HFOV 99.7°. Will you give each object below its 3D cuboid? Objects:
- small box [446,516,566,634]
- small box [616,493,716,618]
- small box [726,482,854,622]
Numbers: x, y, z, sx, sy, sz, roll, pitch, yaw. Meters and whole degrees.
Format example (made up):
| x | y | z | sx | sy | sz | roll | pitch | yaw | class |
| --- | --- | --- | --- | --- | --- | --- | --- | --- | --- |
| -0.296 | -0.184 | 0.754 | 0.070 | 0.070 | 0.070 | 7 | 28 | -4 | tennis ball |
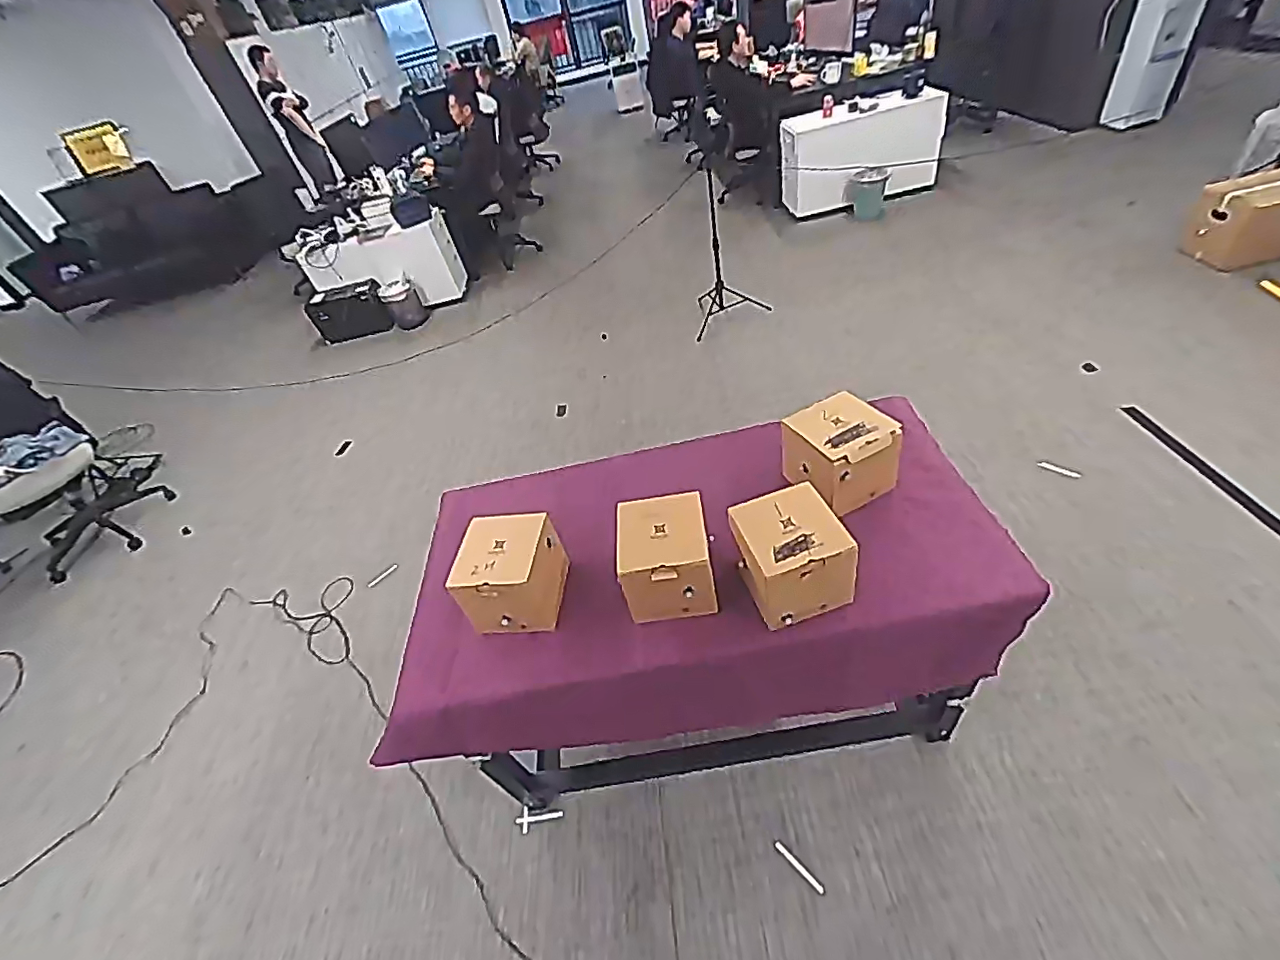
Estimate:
| x | y | z | sx | sy | sz | roll | pitch | yaw | class |
| --- | --- | --- | --- | --- | --- | --- | --- | --- | --- |
| -0.260 | 0.195 | 1.101 | 0.168 | 0.176 | 0.179 | -5 | 44 | 12 | small box |
| 0.051 | 0.155 | 1.054 | 0.168 | 0.176 | 0.179 | -9 | 43 | 7 | small box |
| 0.275 | 0.140 | 1.000 | 0.168 | 0.176 | 0.179 | -19 | 42 | -3 | small box |
